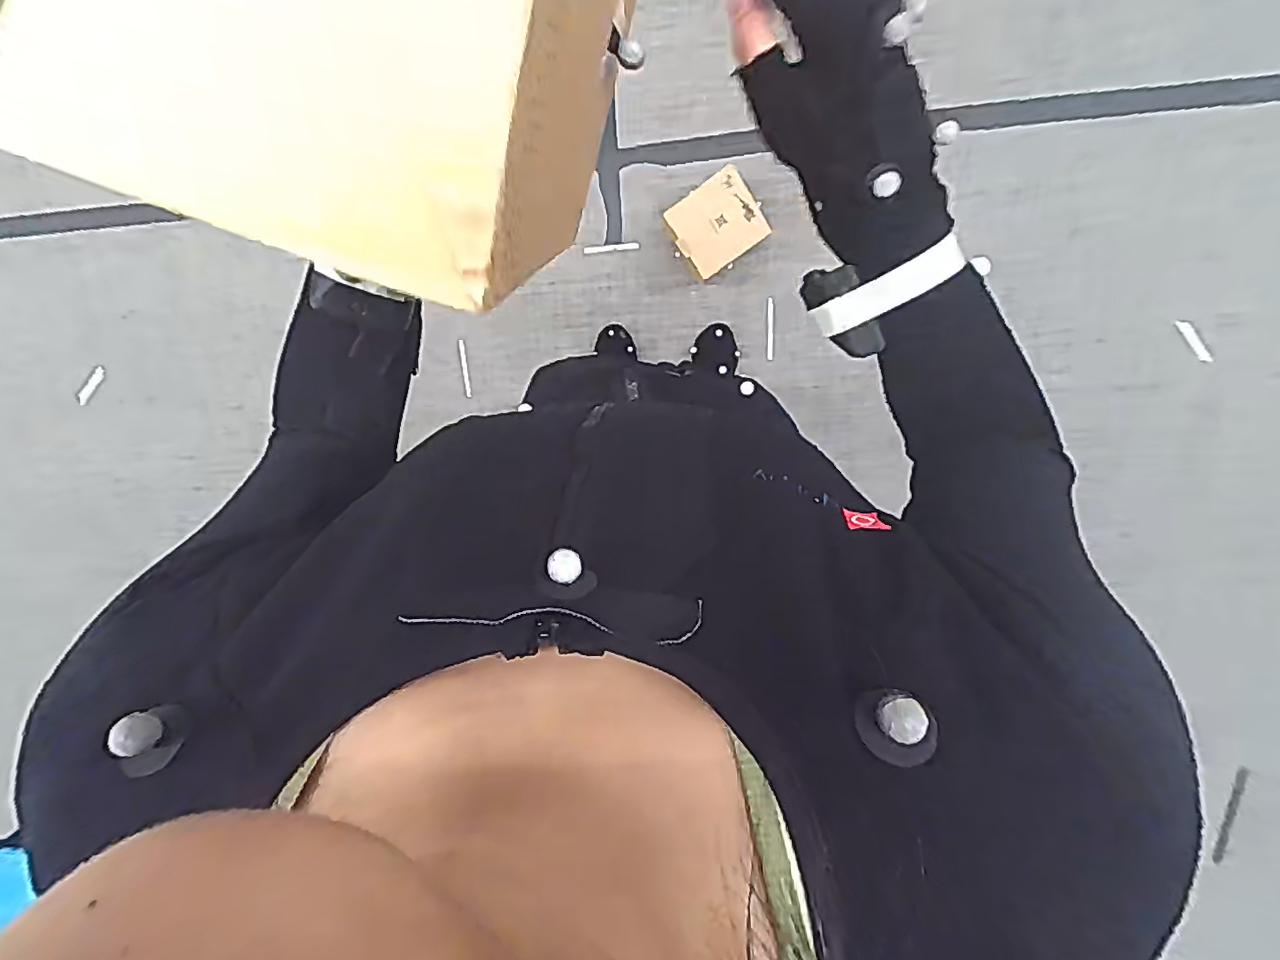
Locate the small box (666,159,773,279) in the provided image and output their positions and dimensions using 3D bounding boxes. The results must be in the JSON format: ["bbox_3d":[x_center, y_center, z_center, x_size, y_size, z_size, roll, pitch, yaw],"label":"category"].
[{"bbox_3d":[0.177,-0.578,1.229,0.179,0.176,0.168,-35,102,13],"label":"small box"}]
